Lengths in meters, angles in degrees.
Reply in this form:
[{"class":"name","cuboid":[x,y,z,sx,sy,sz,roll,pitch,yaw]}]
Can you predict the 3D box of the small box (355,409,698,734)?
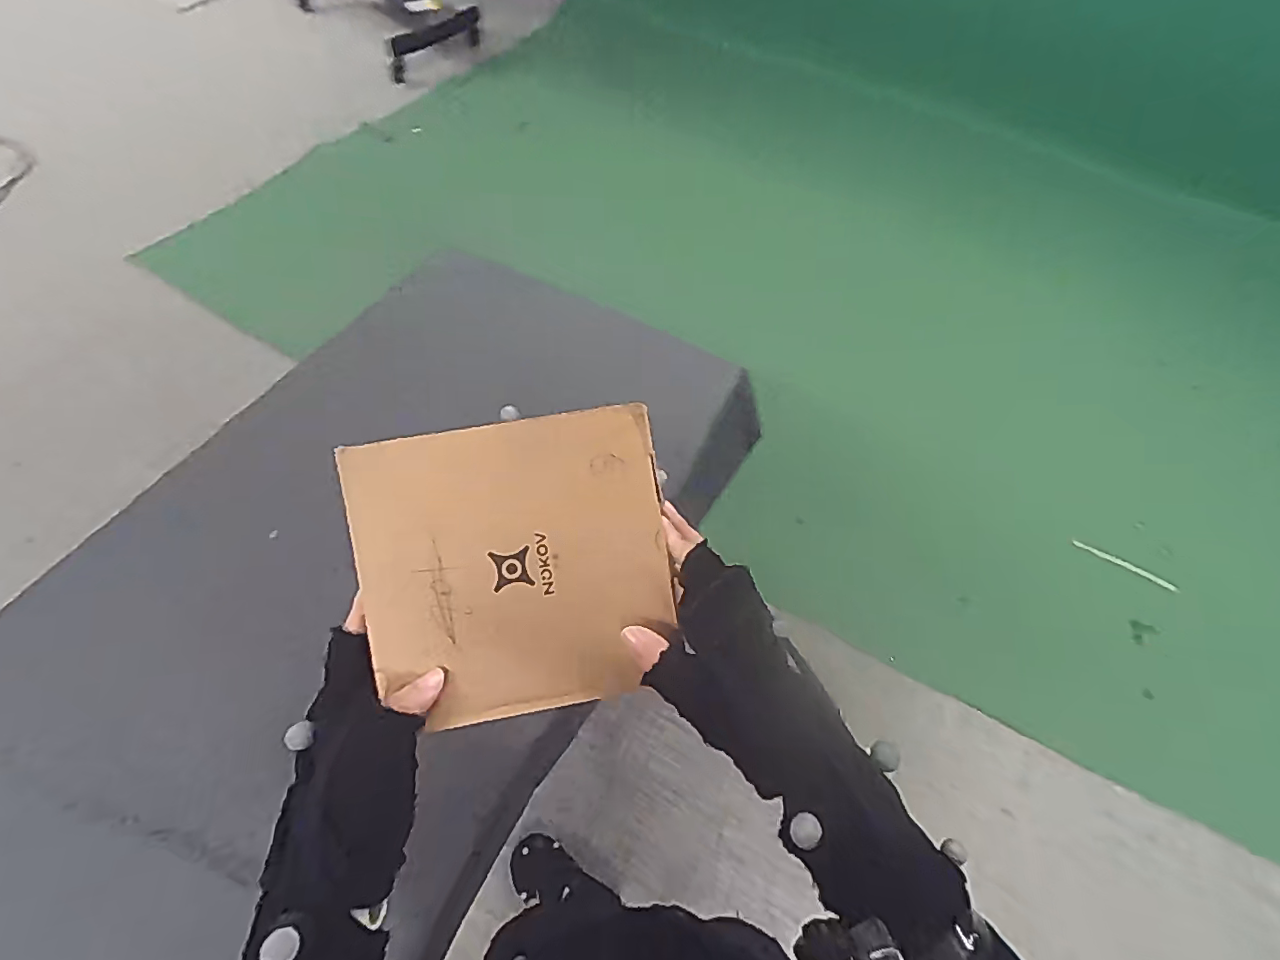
[{"class":"small box","cuboid":[-0.068,0.050,0.390,0.179,0.176,0.168,-10,90,-3]}]
